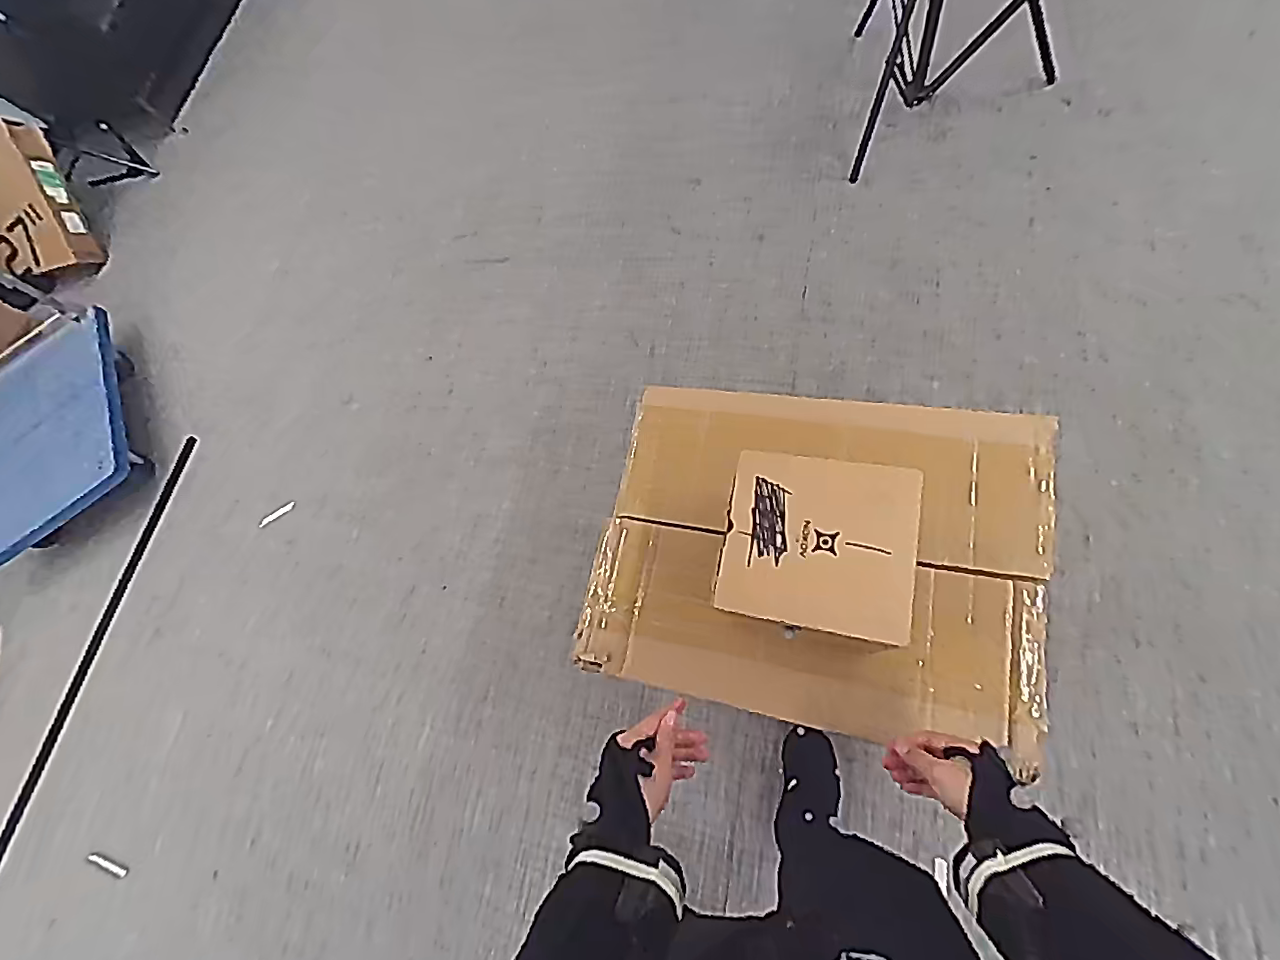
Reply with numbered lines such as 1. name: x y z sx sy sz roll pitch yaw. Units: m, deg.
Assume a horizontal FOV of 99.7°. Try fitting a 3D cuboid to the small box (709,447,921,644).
1. small box: 0.185 0.078 0.585 0.179 0.176 0.168 8 74 18
